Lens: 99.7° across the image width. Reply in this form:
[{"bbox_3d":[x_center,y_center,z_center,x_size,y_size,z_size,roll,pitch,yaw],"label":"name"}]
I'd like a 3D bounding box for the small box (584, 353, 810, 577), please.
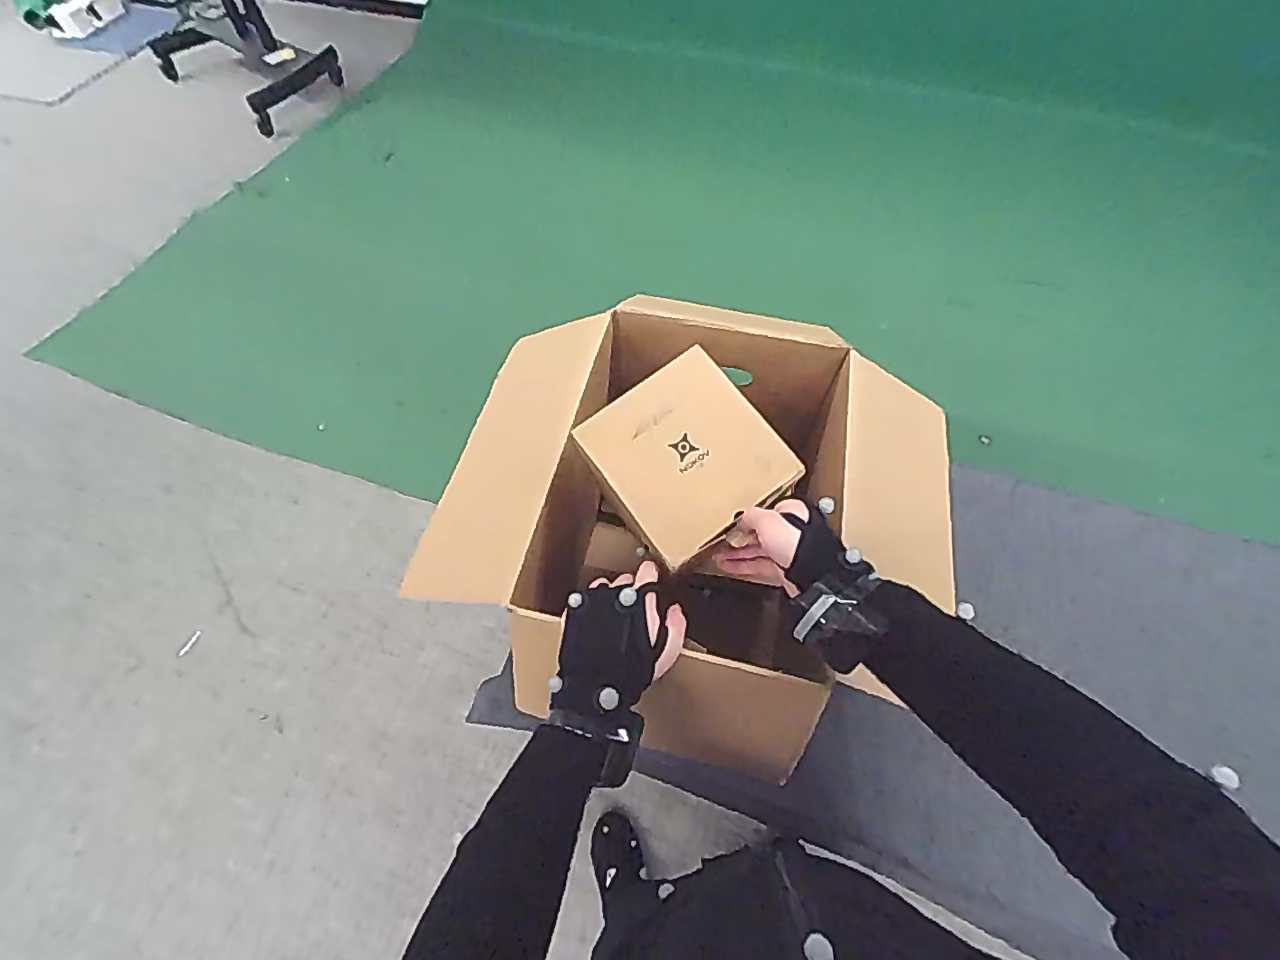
[{"bbox_3d":[0.060,-0.003,0.622,0.168,0.176,0.179,-34,73,-8],"label":"small box"}]
